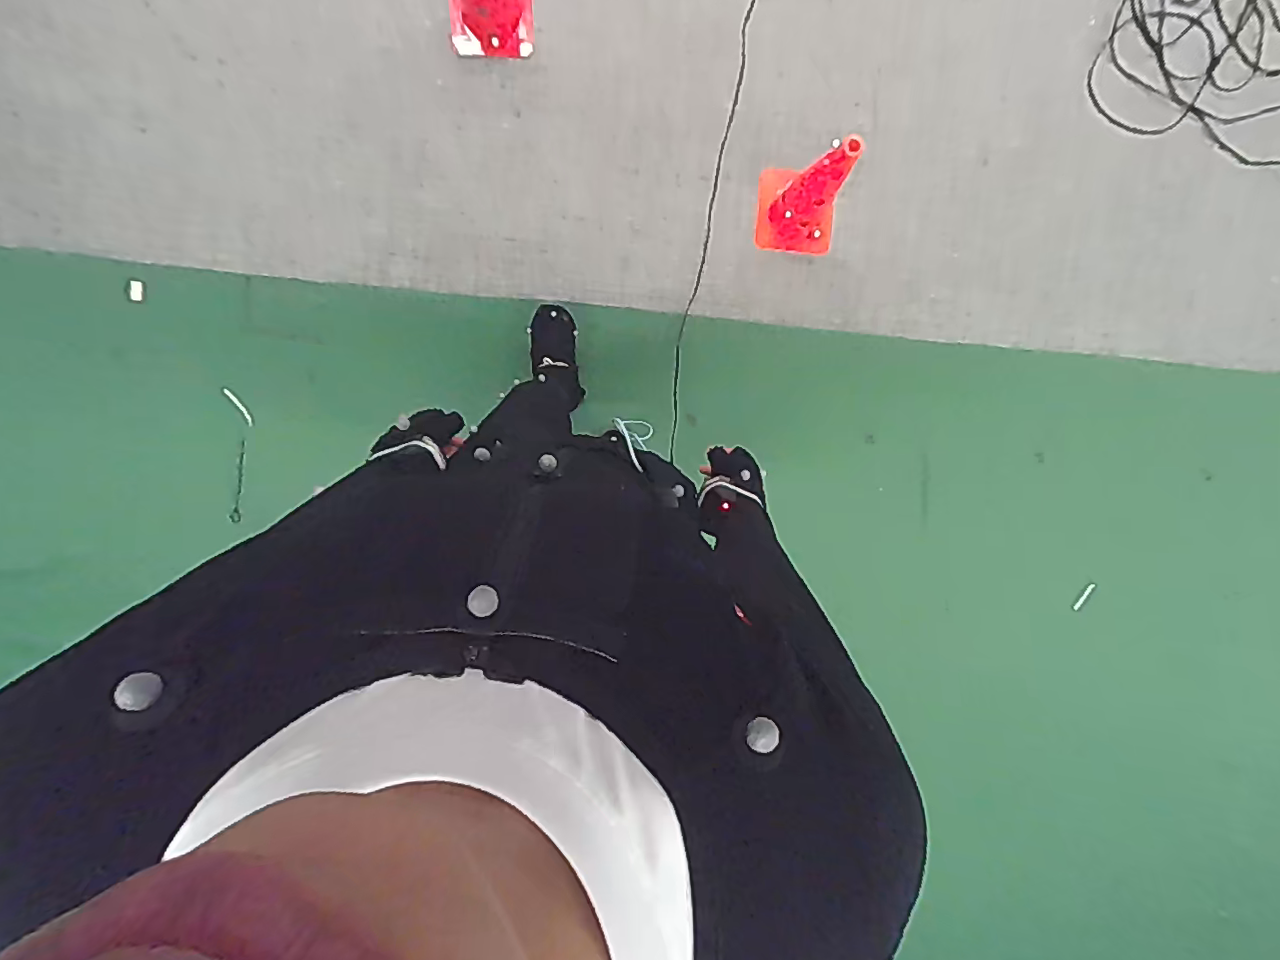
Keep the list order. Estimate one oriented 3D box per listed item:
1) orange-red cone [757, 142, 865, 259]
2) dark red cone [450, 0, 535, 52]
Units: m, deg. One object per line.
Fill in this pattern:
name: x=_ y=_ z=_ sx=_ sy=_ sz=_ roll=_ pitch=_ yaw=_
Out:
orange-red cone: x=0.417 y=-0.670 z=1.240 sx=0.198 sy=0.360 sz=0.199 roll=5 pitch=95 yaw=-4
dark red cone: x=-0.350 y=-1.118 z=1.140 sx=0.202 sy=0.394 sz=0.201 roll=0 pitch=98 yaw=-2
